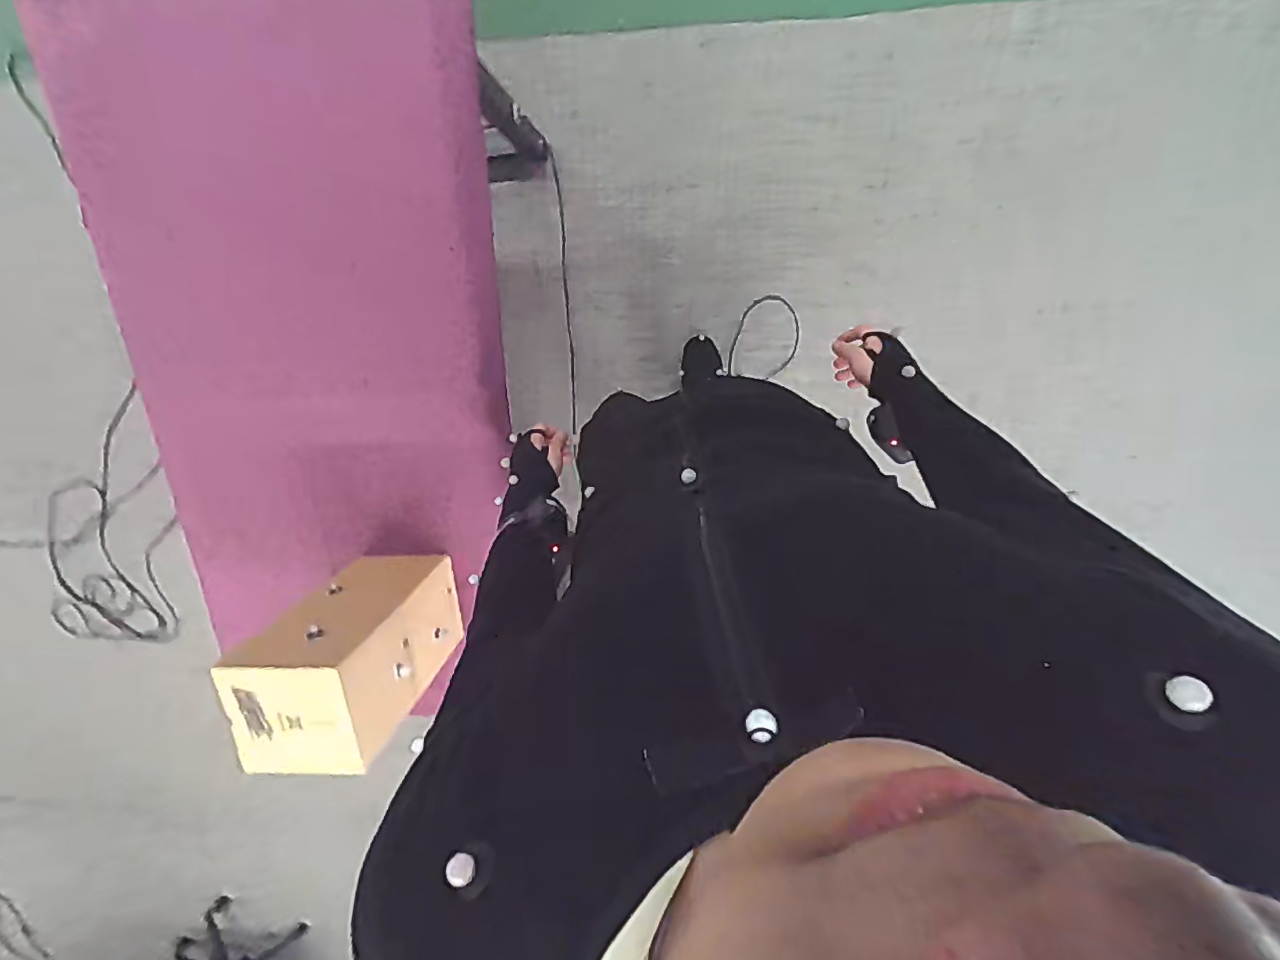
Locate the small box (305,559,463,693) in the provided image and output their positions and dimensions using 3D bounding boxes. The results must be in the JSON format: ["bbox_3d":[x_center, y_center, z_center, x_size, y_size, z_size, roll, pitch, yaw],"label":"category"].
[{"bbox_3d":[-0.420,0.242,0.924,0.179,0.176,0.168,-2,106,7],"label":"small box"}]

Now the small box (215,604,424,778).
[{"bbox_3d":[-0.437,0.288,0.767,0.179,0.176,0.168,-2,107,6],"label":"small box"}]
